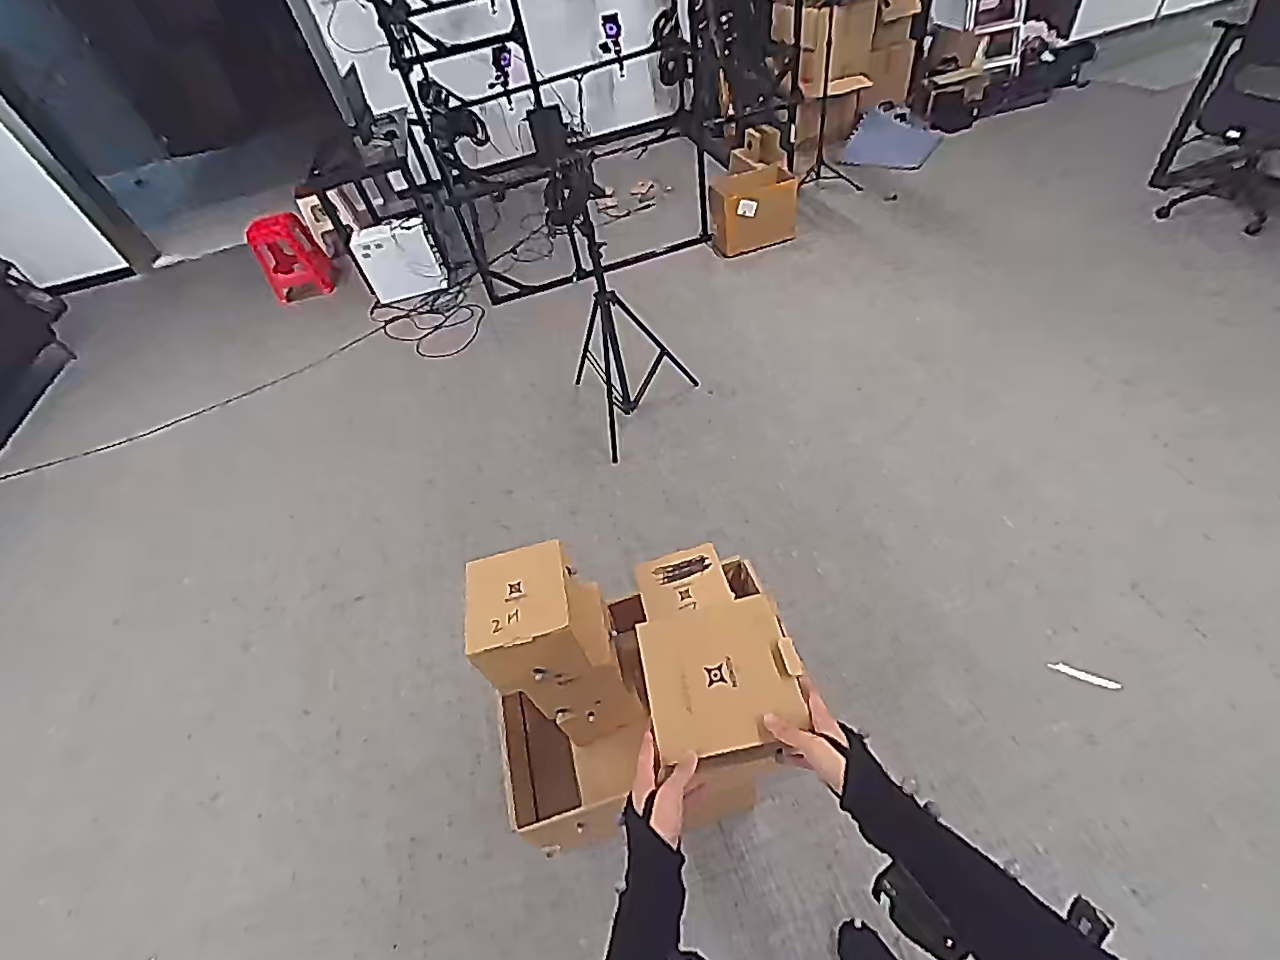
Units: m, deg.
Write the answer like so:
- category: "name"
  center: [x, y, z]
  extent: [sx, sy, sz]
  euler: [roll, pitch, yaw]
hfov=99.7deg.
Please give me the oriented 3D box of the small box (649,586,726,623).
- category: "small box"
  center: [0.128, 0.369, 1.196]
  extent: [0.168, 0.176, 0.179]
  euler: [-18, 48, -3]

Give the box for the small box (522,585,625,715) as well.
- category: "small box"
  center: [-0.133, 0.338, 1.055]
  extent: [0.168, 0.176, 0.179]
  euler: [-15, 47, -2]

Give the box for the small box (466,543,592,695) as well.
- category: "small box"
  center: [-0.188, 0.240, 0.931]
  extent: [0.168, 0.176, 0.179]
  euler: [-15, 48, -1]

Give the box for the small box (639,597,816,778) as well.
- category: "small box"
  center: [0.110, 0.273, 0.697]
  extent: [0.179, 0.176, 0.168]
  euler: [-15, 55, 5]
